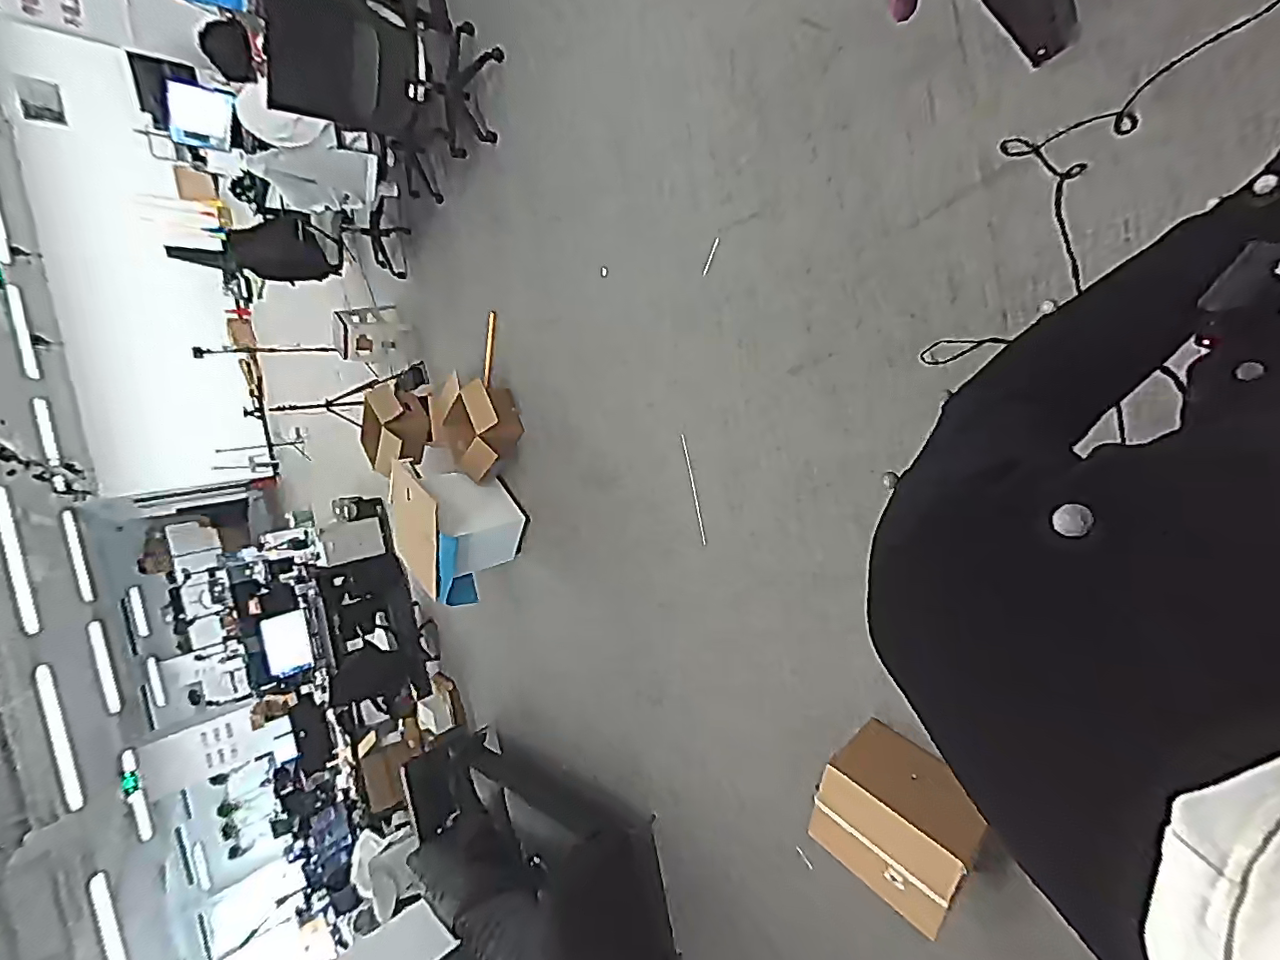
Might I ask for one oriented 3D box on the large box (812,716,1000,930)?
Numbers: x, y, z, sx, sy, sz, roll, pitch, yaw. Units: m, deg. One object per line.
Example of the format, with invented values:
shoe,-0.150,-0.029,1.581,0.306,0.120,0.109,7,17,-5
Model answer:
large box,0.815,1.030,1.682,0.408,0.320,0.320,24,118,41
